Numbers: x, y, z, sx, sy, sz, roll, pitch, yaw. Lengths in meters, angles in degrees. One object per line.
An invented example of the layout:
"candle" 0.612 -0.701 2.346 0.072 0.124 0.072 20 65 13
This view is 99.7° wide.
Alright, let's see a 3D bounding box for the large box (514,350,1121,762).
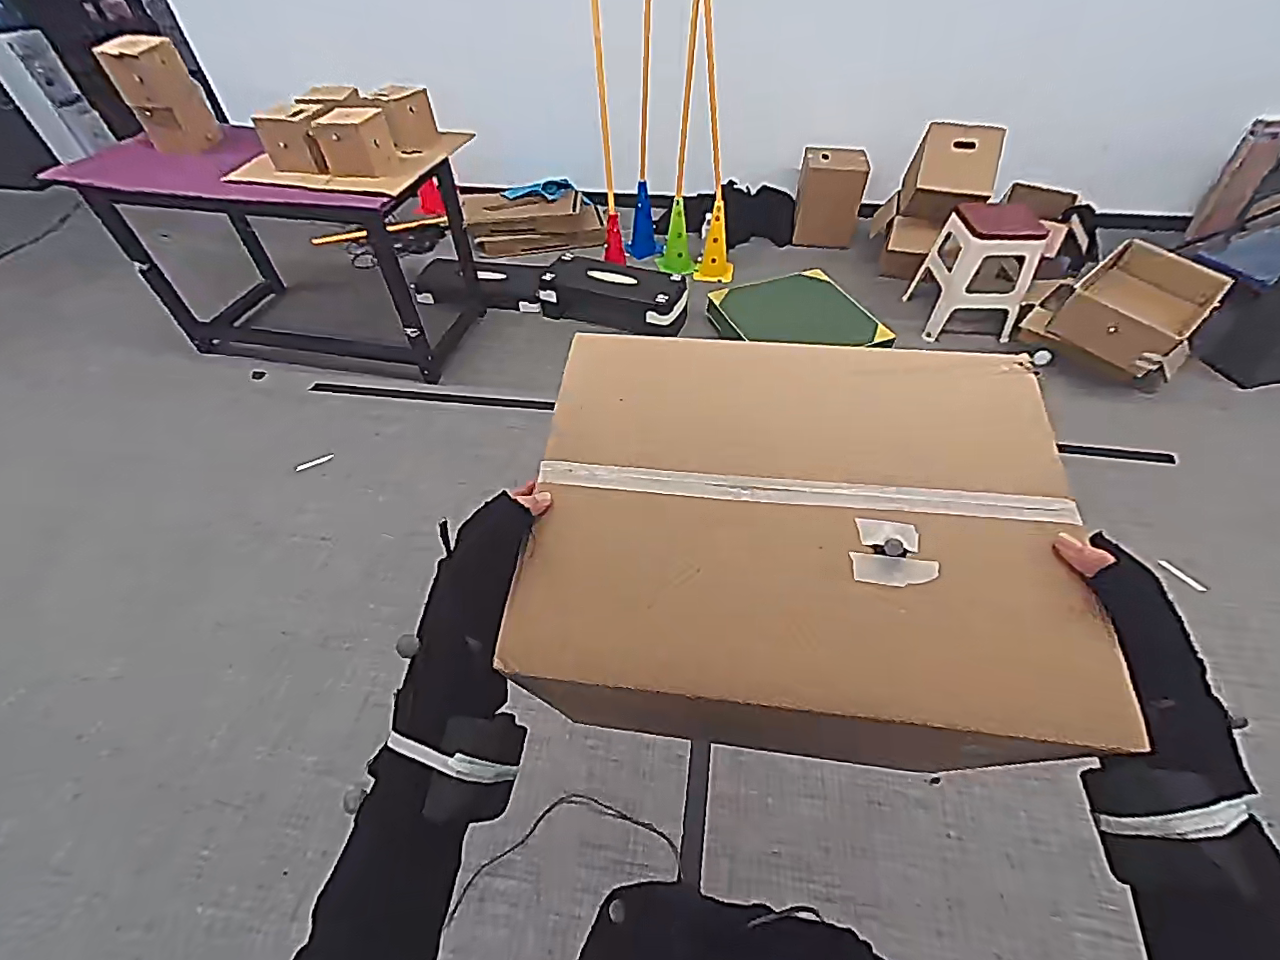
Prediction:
"large box" 0.129 0.092 0.557 0.408 0.320 0.320 4 62 6
